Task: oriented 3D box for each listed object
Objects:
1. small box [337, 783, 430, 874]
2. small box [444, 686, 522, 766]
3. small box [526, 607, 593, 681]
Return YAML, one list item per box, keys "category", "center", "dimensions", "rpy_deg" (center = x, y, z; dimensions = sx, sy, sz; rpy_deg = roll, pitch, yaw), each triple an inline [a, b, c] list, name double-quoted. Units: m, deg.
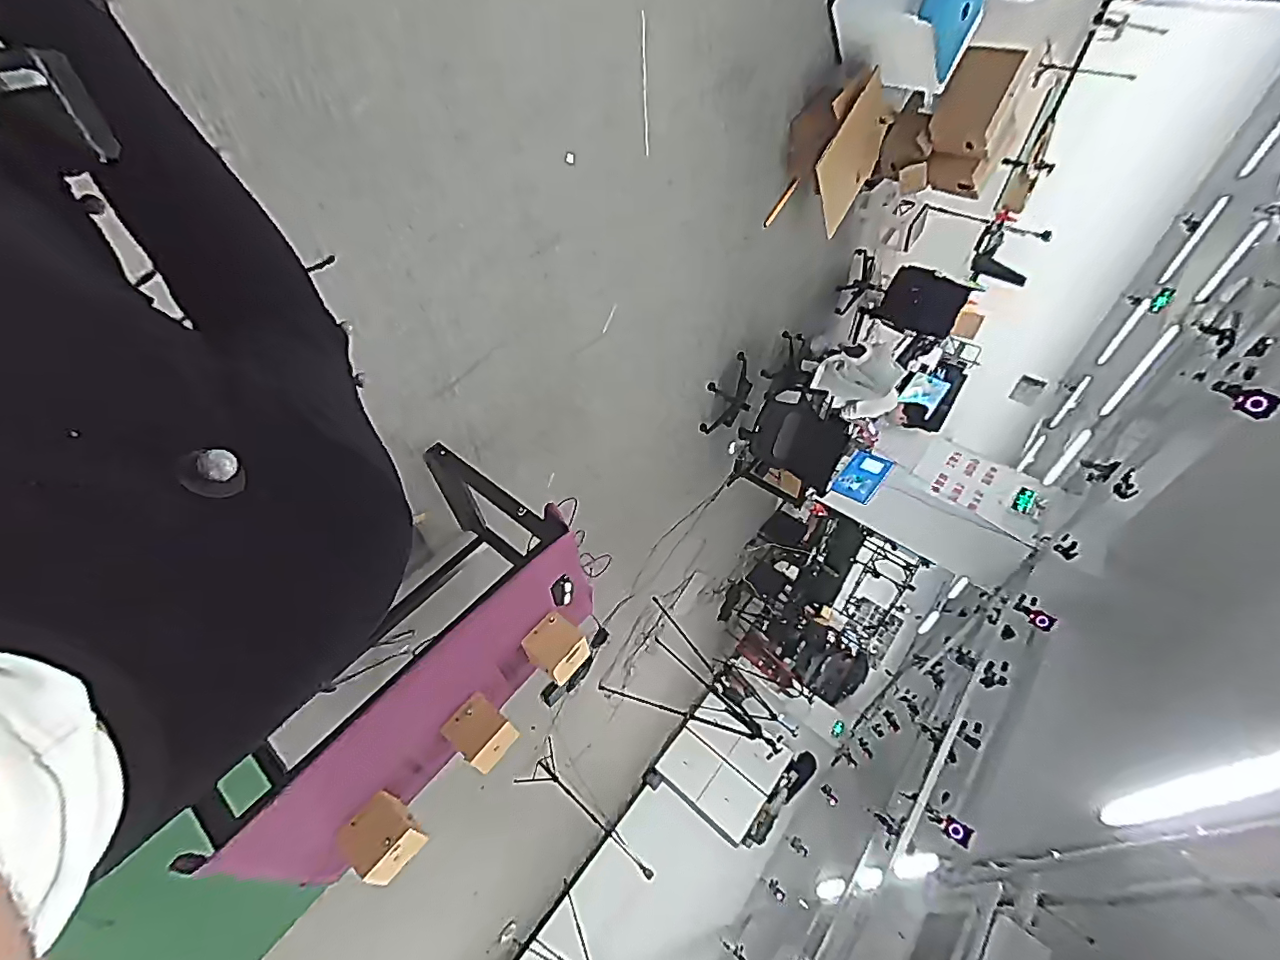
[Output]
- category: "small box"
  center: [-0.788, 1.072, 1.670]
  dimensions: [0.168, 0.176, 0.179]
  rpy_deg: [-43, 151, -29]
- category: "small box"
  center: [-0.536, 0.836, 1.848]
  dimensions: [0.168, 0.176, 0.179]
  rpy_deg: [-44, 150, -27]
- category: "small box"
  center: [-0.298, 0.598, 1.990]
  dimensions: [0.168, 0.176, 0.179]
  rpy_deg: [-43, 151, -26]
